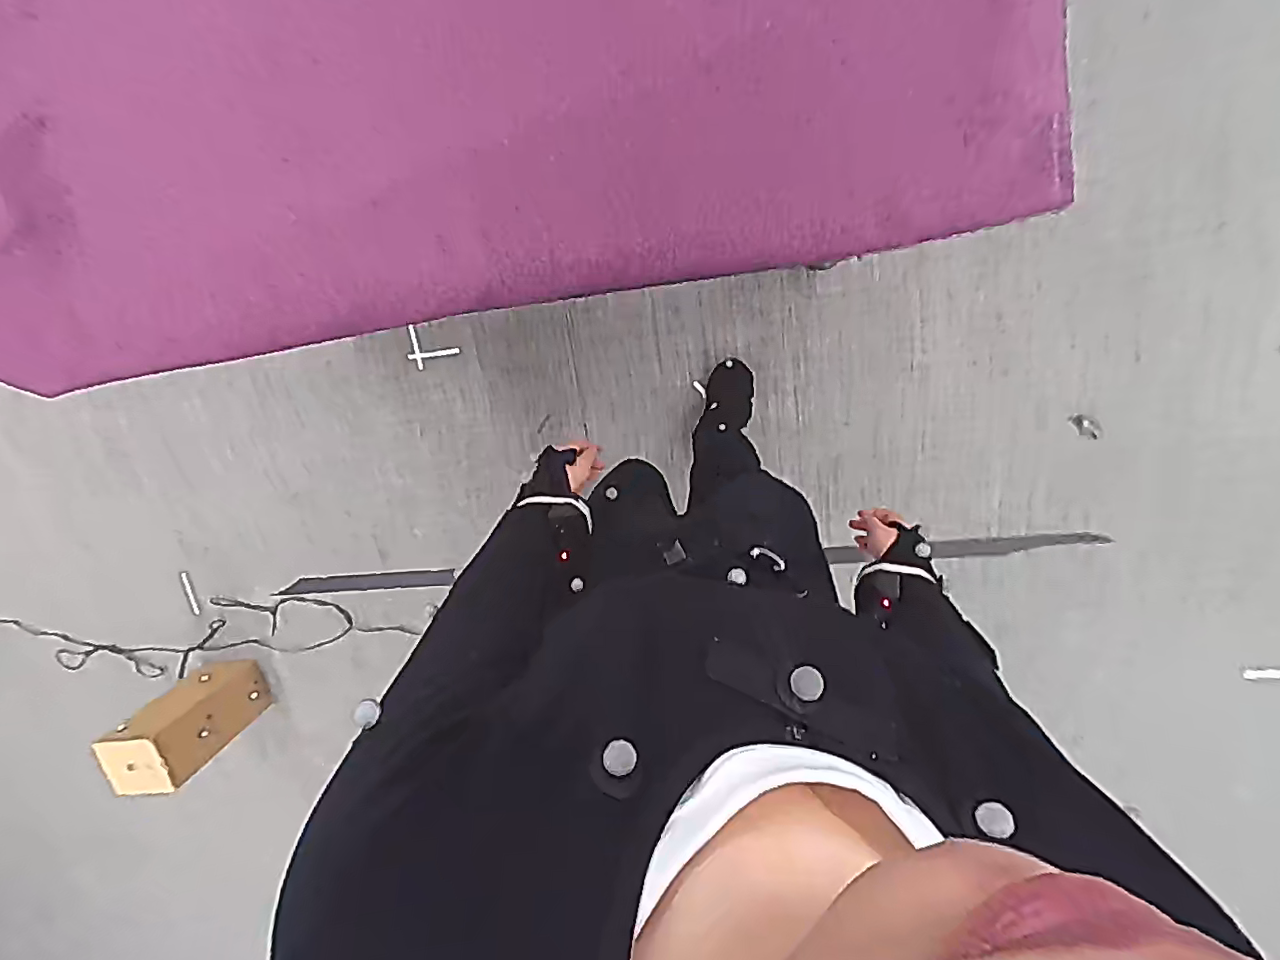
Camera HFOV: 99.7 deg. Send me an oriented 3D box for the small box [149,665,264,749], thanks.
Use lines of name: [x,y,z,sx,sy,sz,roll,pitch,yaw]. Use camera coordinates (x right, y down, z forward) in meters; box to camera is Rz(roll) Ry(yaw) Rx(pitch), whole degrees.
small box: [-1.257,0.661,1.581,0.179,0.176,0.168,-6,105,6]

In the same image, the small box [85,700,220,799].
small box: [-1.271,0.704,1.422,0.179,0.176,0.168,-7,105,7]
